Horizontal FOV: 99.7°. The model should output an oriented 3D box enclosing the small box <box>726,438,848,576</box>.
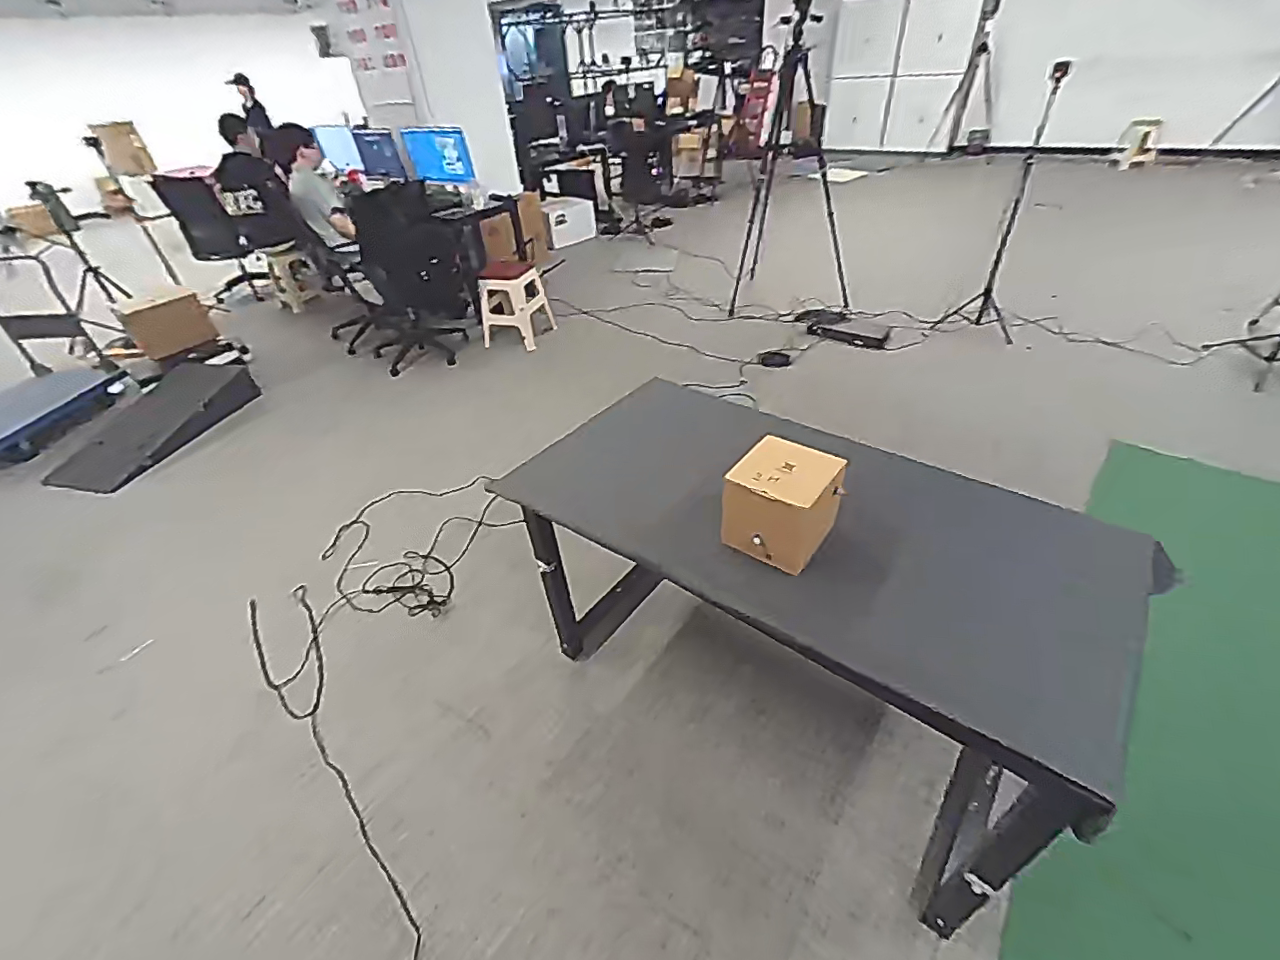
[{"bbox_3d":[0.277,0.050,1.048,0.168,0.176,0.179,24,46,32],"label":"small box"}]
